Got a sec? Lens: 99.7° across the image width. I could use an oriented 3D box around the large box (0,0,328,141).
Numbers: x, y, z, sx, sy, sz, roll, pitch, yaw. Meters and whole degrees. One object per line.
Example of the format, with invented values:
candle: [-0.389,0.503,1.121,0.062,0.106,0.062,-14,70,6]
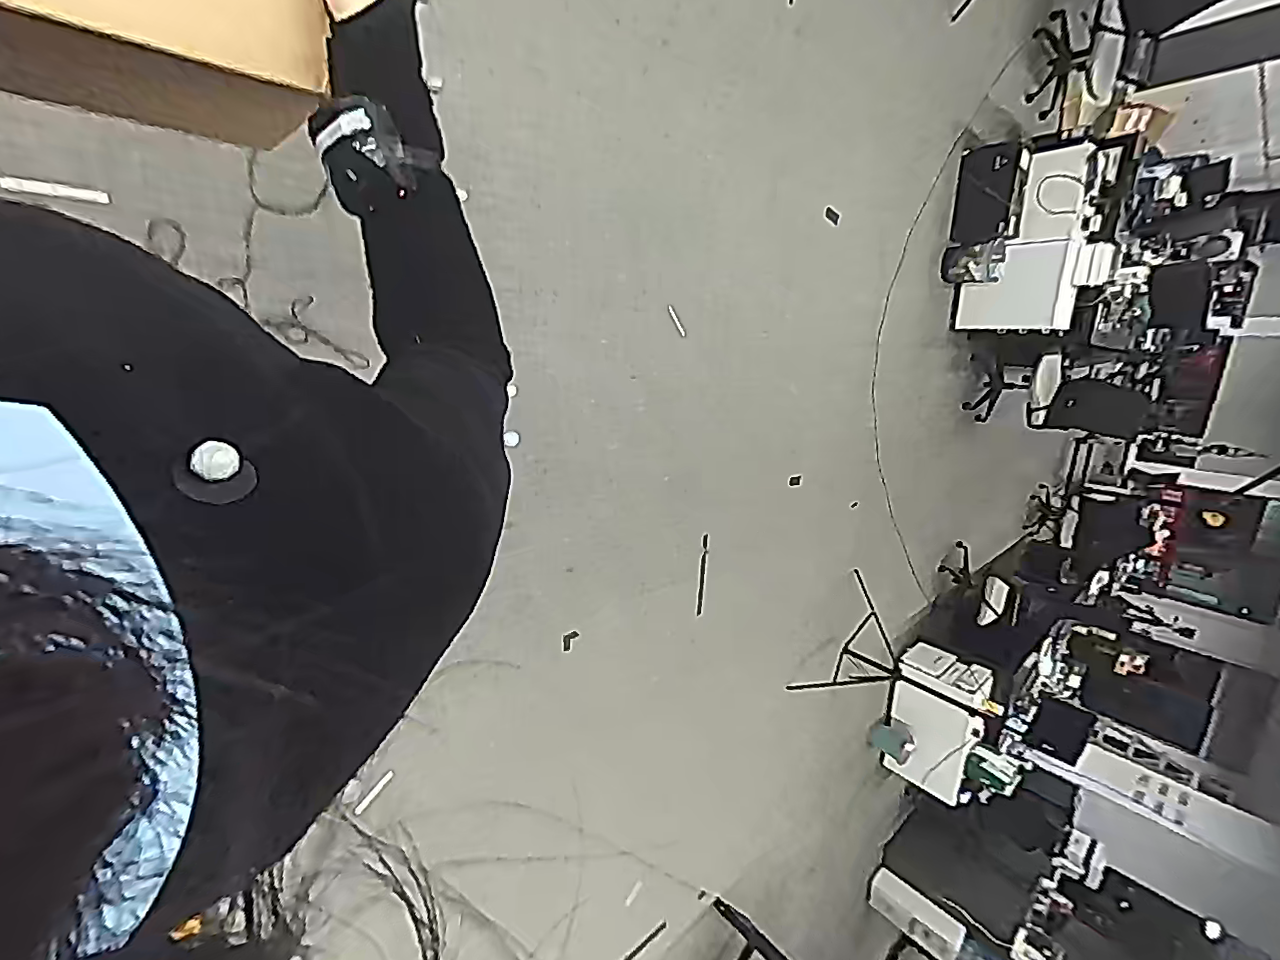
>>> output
large box: [-0.473,-0.457,0.350,0.408,0.320,0.320,-10,113,-40]
